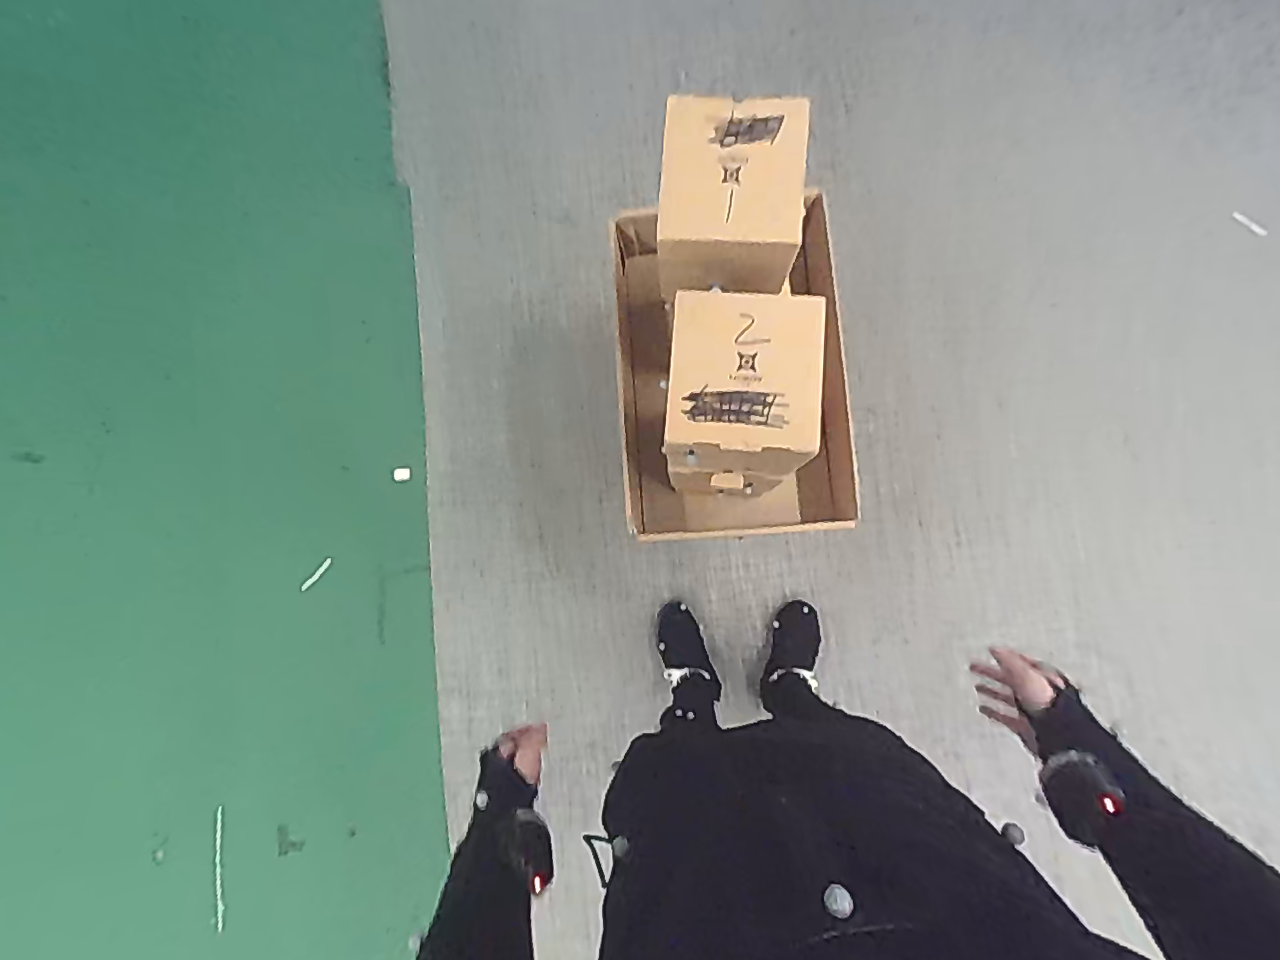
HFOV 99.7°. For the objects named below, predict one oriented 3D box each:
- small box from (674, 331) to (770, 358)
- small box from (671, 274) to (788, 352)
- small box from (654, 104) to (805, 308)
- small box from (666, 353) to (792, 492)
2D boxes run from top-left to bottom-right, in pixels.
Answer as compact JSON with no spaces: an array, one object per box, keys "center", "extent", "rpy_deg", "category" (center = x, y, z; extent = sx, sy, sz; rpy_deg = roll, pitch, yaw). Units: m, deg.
[{"center":[0.146,-0.307,1.027],"extent":[0.168,0.176,0.179],"rpy_deg":[-5,83,5],"category":"small box"},{"center":[0.131,-0.323,0.867],"extent":[0.168,0.176,0.179],"rpy_deg":[-6,84,5],"category":"small box"},{"center":[0.110,-0.346,0.705],"extent":[0.168,0.176,0.179],"rpy_deg":[4,85,6],"category":"small box"},{"center":[0.132,-0.079,0.830],"extent":[0.168,0.176,0.179],"rpy_deg":[4,82,6],"category":"small box"}]
